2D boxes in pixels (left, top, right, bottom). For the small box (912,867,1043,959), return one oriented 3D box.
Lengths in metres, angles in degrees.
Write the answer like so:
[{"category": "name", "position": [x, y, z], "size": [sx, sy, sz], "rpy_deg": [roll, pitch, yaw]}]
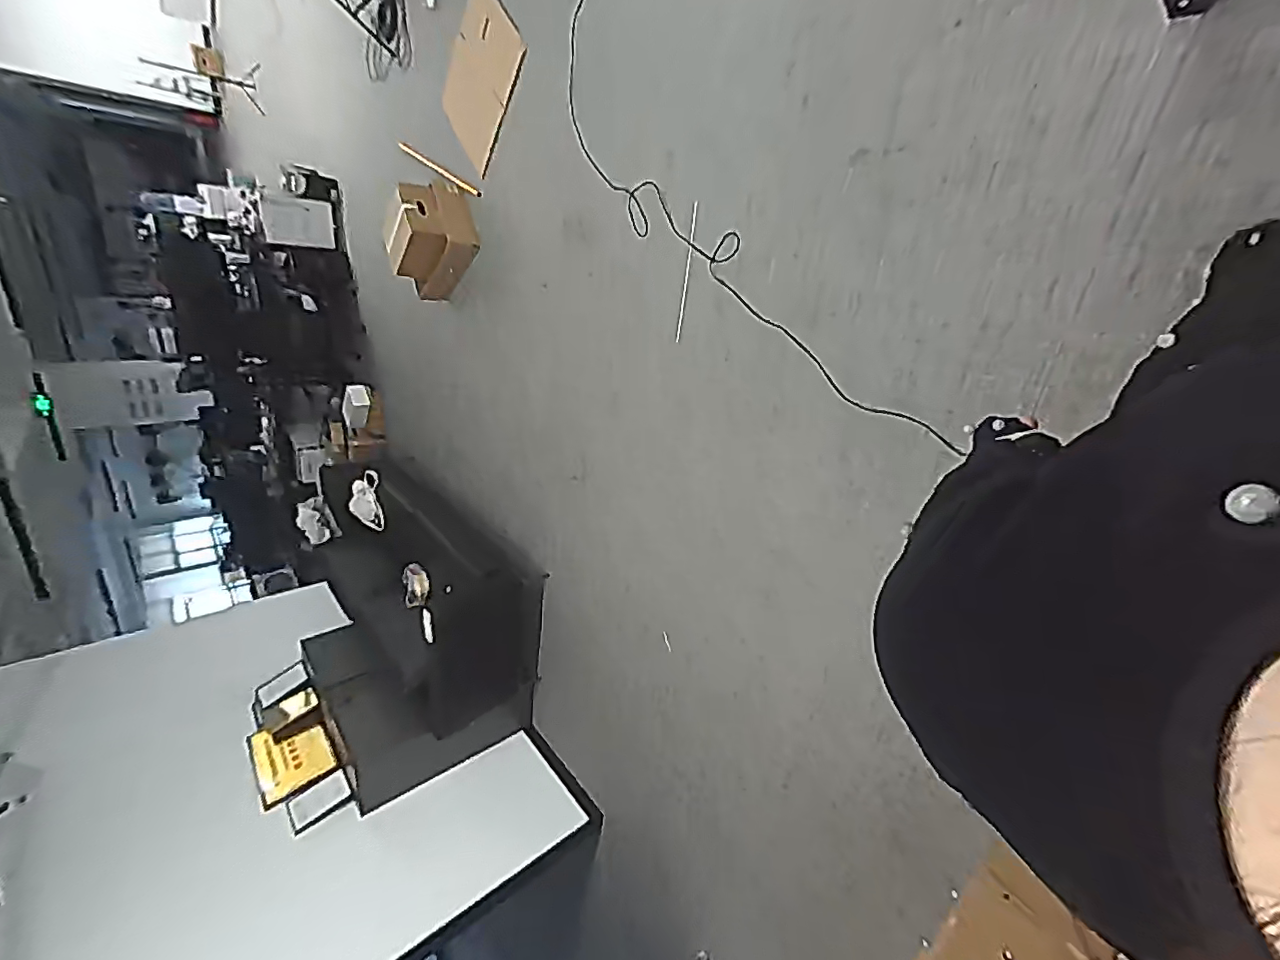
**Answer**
[{"category": "small box", "position": [0.741, 1.011, 1.185], "size": [0.168, 0.176, 0.179], "rpy_deg": [35, 126, 39]}]
